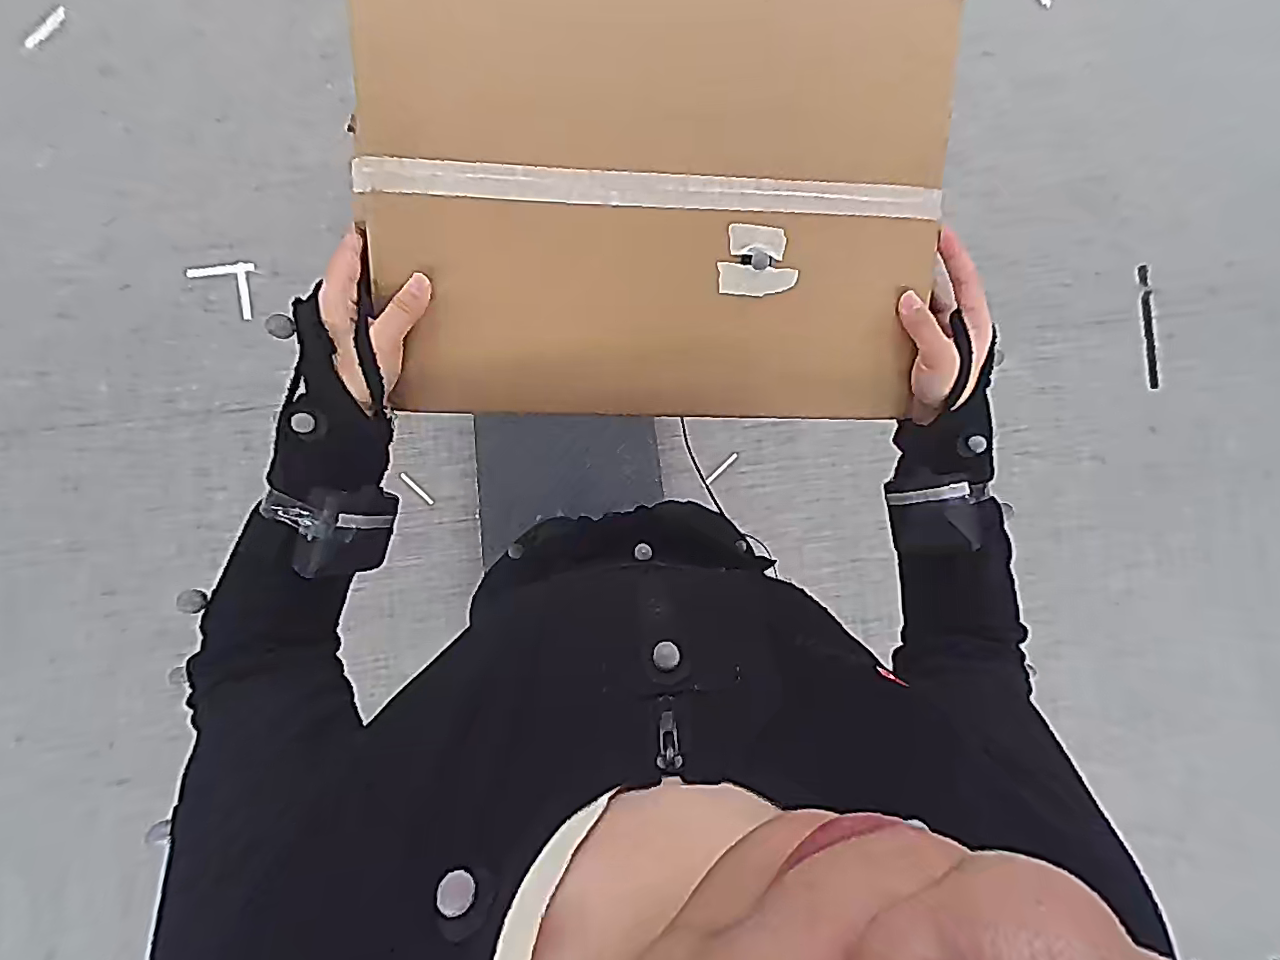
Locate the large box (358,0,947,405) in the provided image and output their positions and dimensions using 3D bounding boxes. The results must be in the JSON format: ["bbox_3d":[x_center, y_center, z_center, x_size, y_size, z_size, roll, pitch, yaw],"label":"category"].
[{"bbox_3d":[-0.001,-0.242,0.528,0.408,0.320,0.320,0,103,-7],"label":"large box"}]
